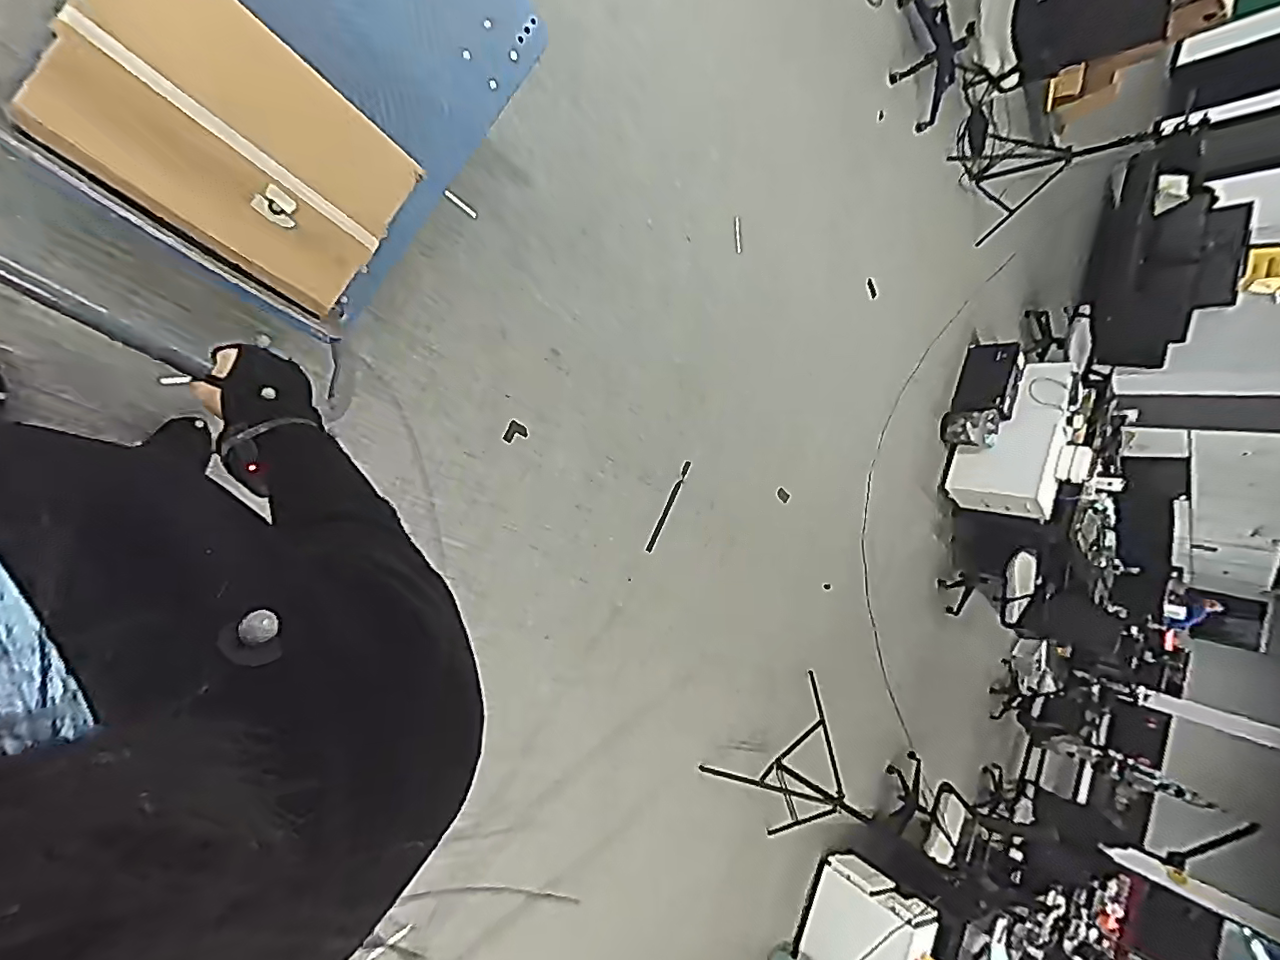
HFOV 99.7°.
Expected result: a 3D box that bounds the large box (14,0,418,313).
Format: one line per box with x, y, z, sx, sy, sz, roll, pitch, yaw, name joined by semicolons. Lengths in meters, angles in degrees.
-0.676;-0.551;0.930;0.408;0.320;0.320;35;91;-40;large box
